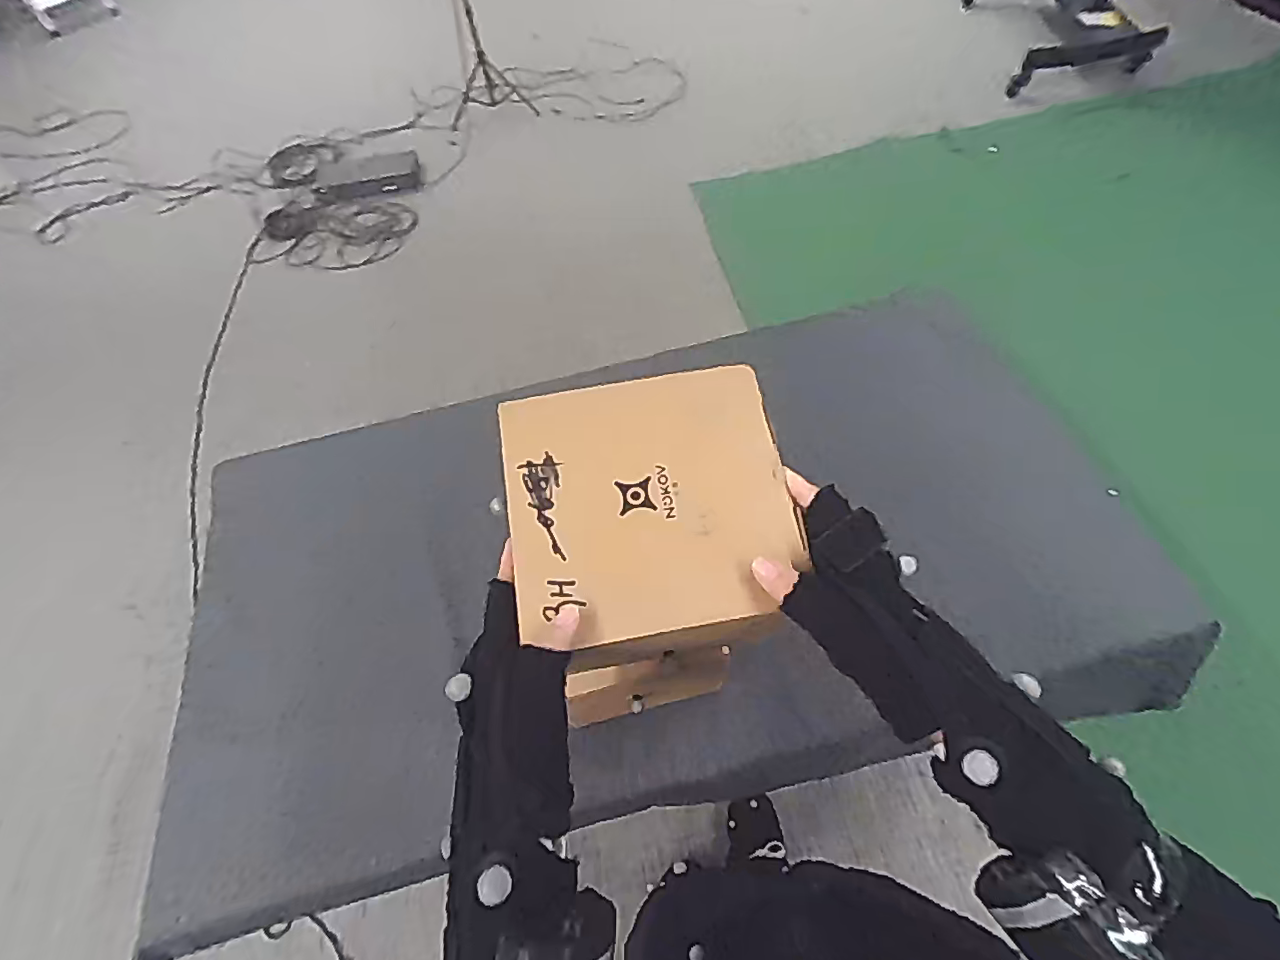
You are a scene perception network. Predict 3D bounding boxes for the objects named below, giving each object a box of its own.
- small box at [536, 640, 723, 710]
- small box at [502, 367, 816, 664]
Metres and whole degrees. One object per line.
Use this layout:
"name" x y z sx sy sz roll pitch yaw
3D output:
"small box" -0.016 0.144 0.601 0.179 0.176 0.168 -12 58 -2
"small box" 0.004 0.038 0.408 0.179 0.176 0.168 -8 68 -4
